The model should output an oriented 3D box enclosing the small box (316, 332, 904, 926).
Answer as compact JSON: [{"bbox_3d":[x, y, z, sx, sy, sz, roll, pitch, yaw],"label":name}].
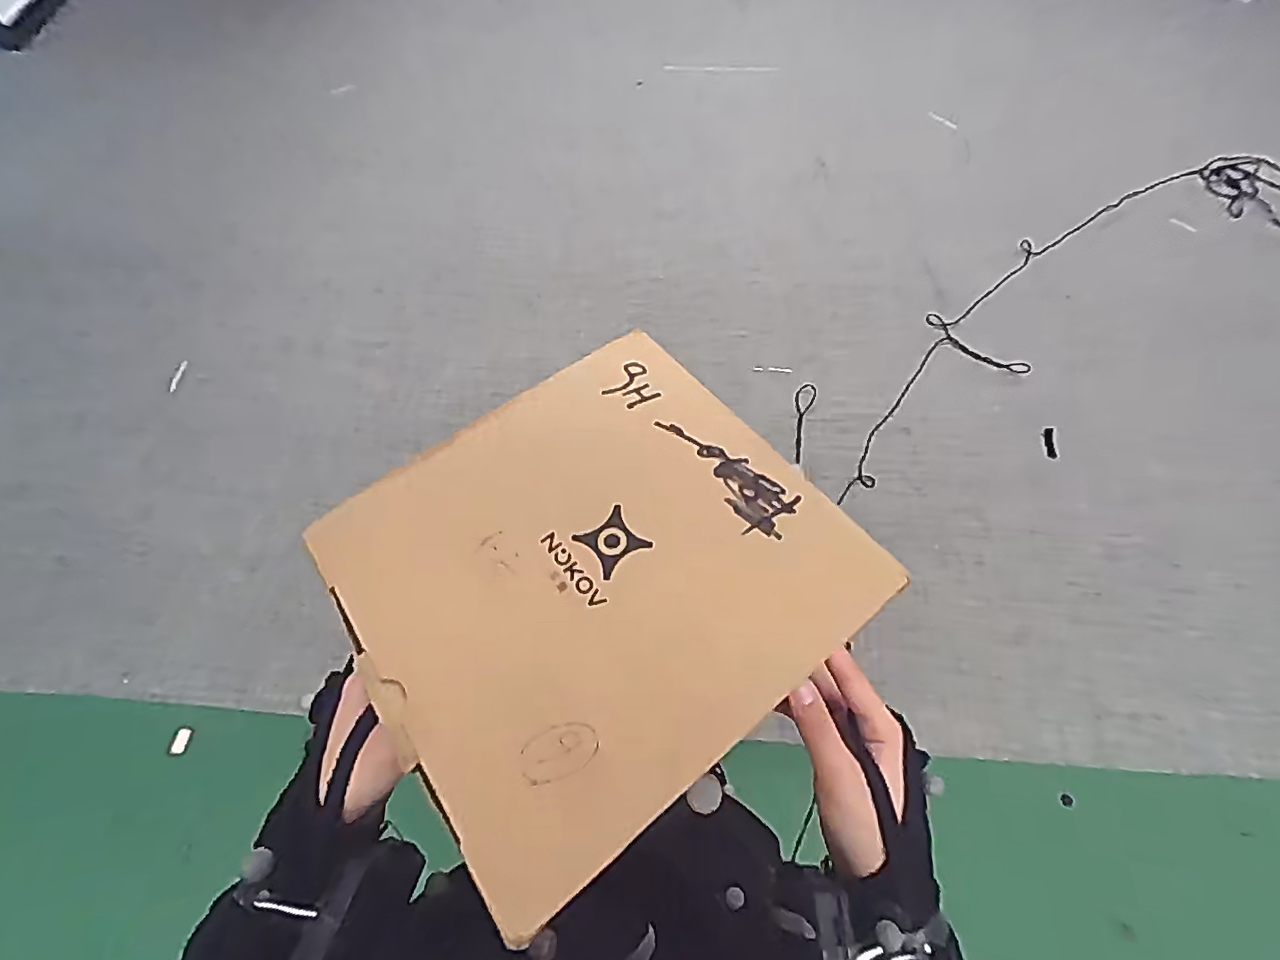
[{"bbox_3d":[-0.012,0.068,0.278,0.179,0.176,0.168,-35,64,-16],"label":"small box"}]
